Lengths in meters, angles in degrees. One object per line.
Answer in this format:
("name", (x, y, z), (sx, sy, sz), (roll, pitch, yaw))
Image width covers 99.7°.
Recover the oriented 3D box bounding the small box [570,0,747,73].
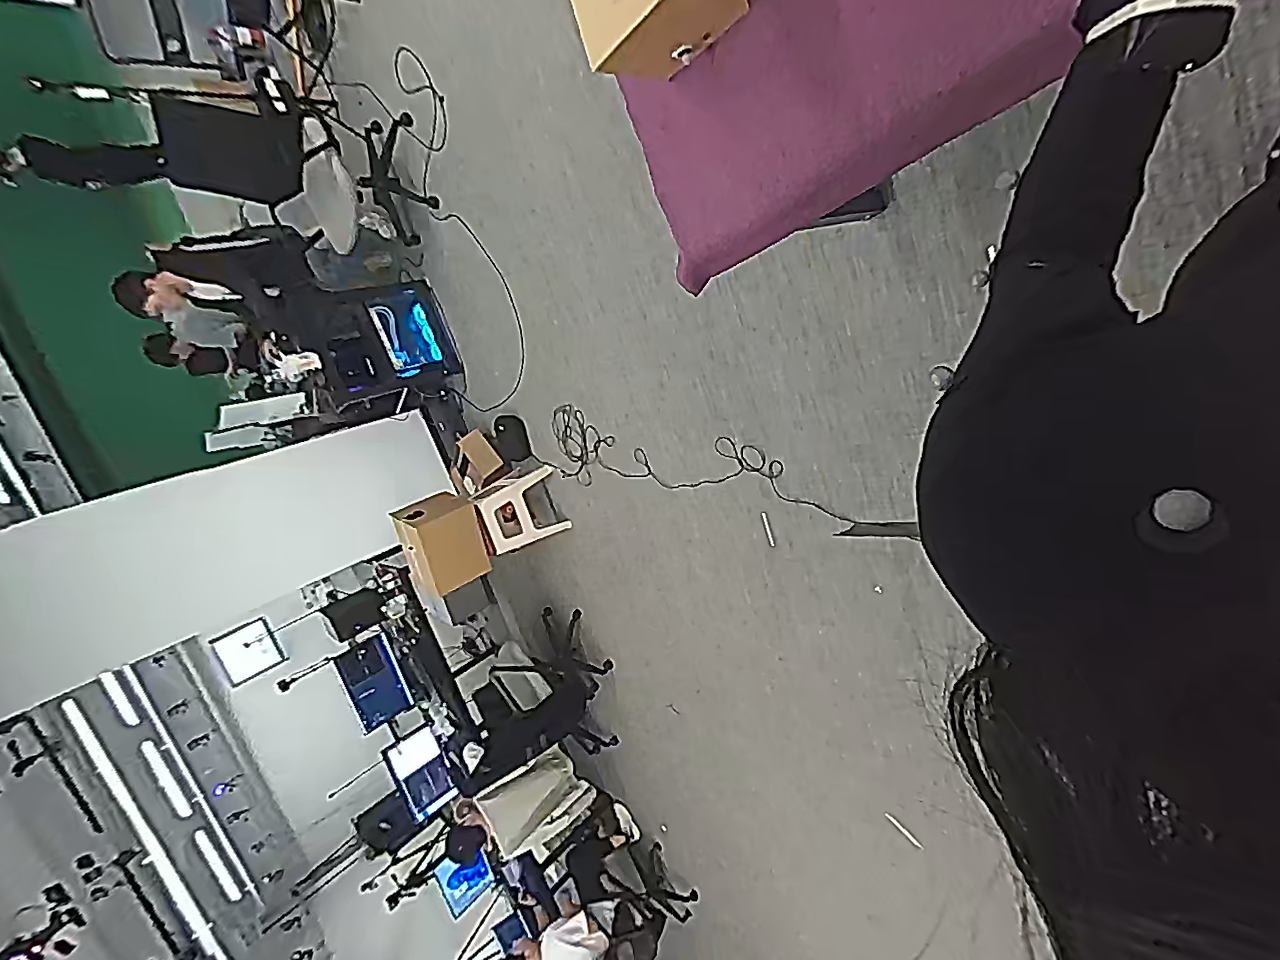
("small box", (0.015, -0.689, 0.728), (0.168, 0.176, 0.179), (-5, 109, 51))
